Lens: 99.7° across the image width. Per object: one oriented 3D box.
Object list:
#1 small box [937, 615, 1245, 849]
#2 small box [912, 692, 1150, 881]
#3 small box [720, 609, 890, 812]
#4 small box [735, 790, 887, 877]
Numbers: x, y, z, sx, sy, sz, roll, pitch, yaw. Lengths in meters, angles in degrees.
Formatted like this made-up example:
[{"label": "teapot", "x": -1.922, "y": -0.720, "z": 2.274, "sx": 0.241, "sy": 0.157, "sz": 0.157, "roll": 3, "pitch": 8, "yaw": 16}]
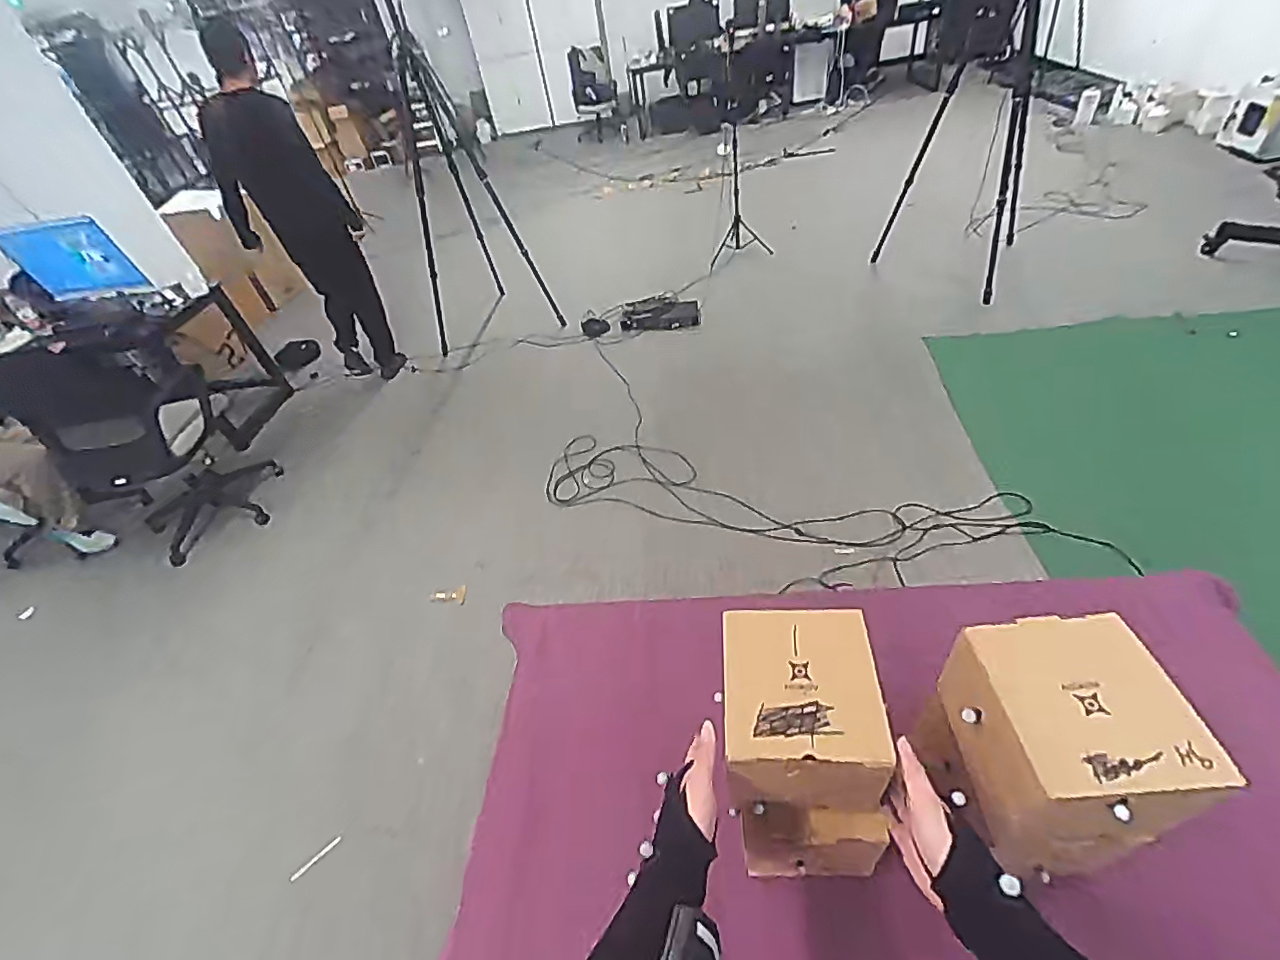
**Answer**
[{"label": "small box", "x": 0.450, "y": 0.271, "z": 0.585, "sx": 0.168, "sy": 0.176, "sz": 0.179, "roll": -7, "pitch": 42, "yaw": 6}, {"label": "small box", "x": 0.474, "y": 0.391, "z": 0.696, "sx": 0.168, "sy": 0.176, "sz": 0.179, "roll": -7, "pitch": 43, "yaw": 6}, {"label": "small box", "x": 0.183, "y": 0.274, "z": 0.644, "sx": 0.168, "sy": 0.176, "sz": 0.179, "roll": -3, "pitch": 43, "yaw": 10}, {"label": "small box", "x": 0.212, "y": 0.413, "z": 0.733, "sx": 0.168, "sy": 0.176, "sz": 0.179, "roll": -5, "pitch": 44, "yaw": 7}]
